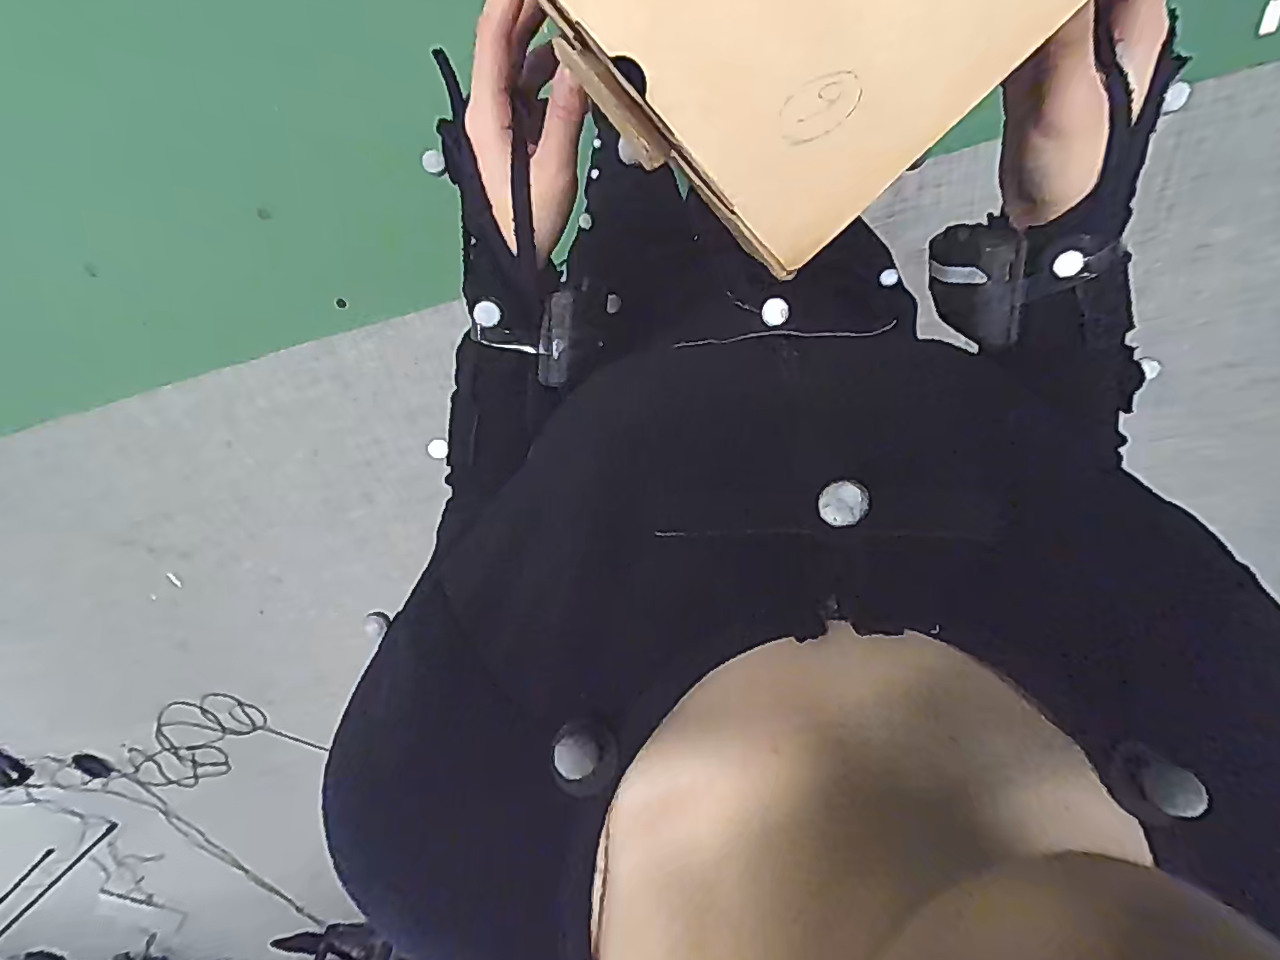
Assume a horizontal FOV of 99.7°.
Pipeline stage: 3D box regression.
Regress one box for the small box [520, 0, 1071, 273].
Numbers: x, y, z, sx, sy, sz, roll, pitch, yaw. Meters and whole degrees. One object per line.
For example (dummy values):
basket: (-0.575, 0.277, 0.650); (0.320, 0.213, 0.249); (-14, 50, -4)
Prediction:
small box: (0.064, -0.217, 0.226); (0.168, 0.176, 0.179); (43, 114, -14)
